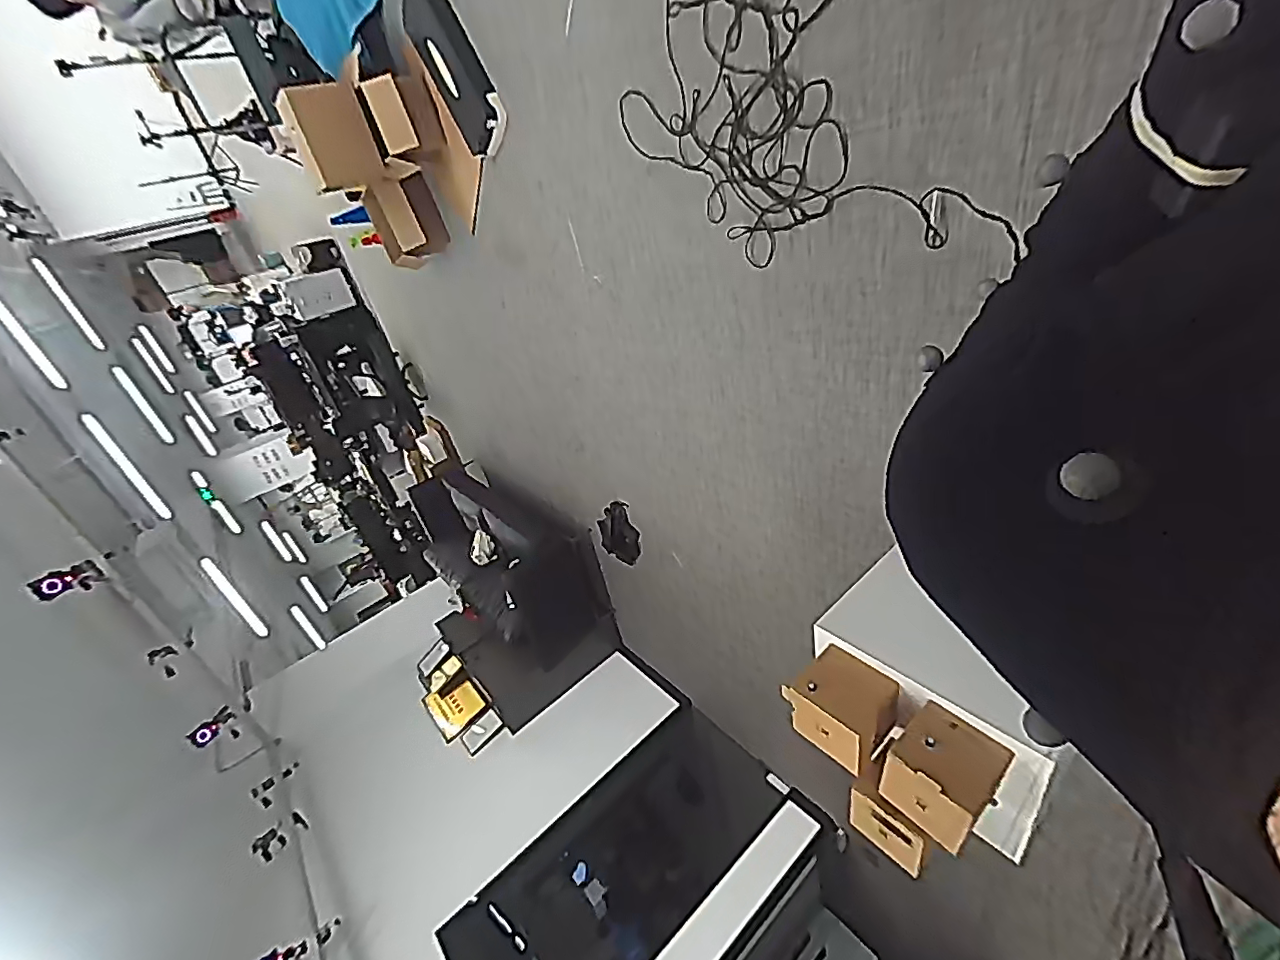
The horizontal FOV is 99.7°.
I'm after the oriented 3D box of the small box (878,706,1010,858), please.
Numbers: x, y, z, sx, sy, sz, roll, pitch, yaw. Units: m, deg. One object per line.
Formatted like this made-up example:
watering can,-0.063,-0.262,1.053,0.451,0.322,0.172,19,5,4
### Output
small box,0.609,0.597,1.087,0.168,0.176,0.179,31,143,44
